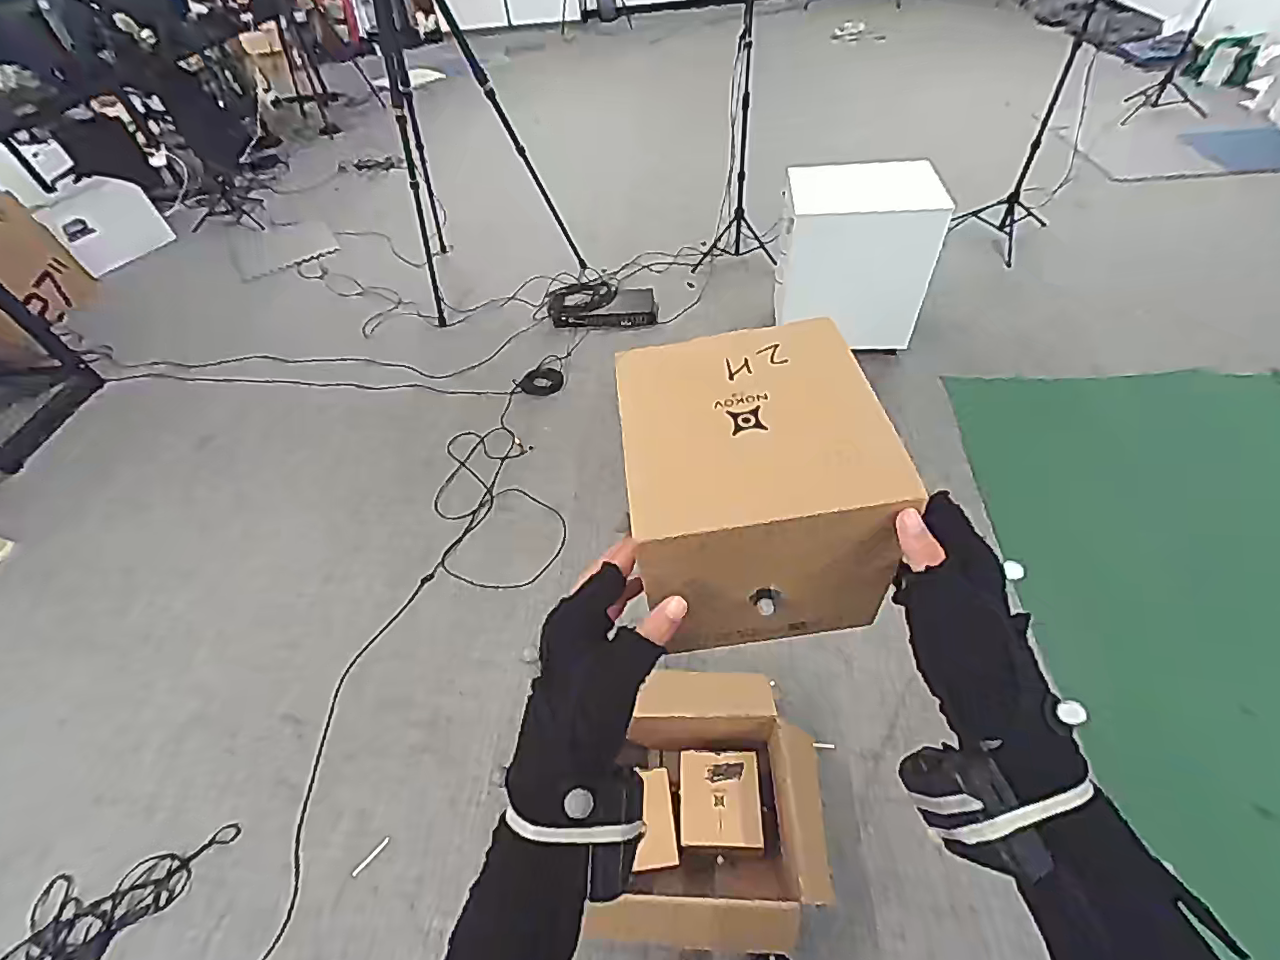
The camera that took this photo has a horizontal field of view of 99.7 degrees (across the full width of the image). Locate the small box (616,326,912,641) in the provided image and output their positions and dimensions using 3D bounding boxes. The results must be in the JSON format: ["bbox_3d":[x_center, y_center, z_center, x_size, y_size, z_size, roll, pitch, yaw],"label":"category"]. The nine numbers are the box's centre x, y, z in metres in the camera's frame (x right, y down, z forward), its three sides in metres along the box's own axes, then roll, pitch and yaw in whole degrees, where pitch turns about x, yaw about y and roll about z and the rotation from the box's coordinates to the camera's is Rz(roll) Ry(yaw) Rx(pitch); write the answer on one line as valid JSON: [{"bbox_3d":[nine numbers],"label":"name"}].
[{"bbox_3d":[0.079,0.012,0.421,0.168,0.176,0.179,-9,49,2],"label":"small box"}]
